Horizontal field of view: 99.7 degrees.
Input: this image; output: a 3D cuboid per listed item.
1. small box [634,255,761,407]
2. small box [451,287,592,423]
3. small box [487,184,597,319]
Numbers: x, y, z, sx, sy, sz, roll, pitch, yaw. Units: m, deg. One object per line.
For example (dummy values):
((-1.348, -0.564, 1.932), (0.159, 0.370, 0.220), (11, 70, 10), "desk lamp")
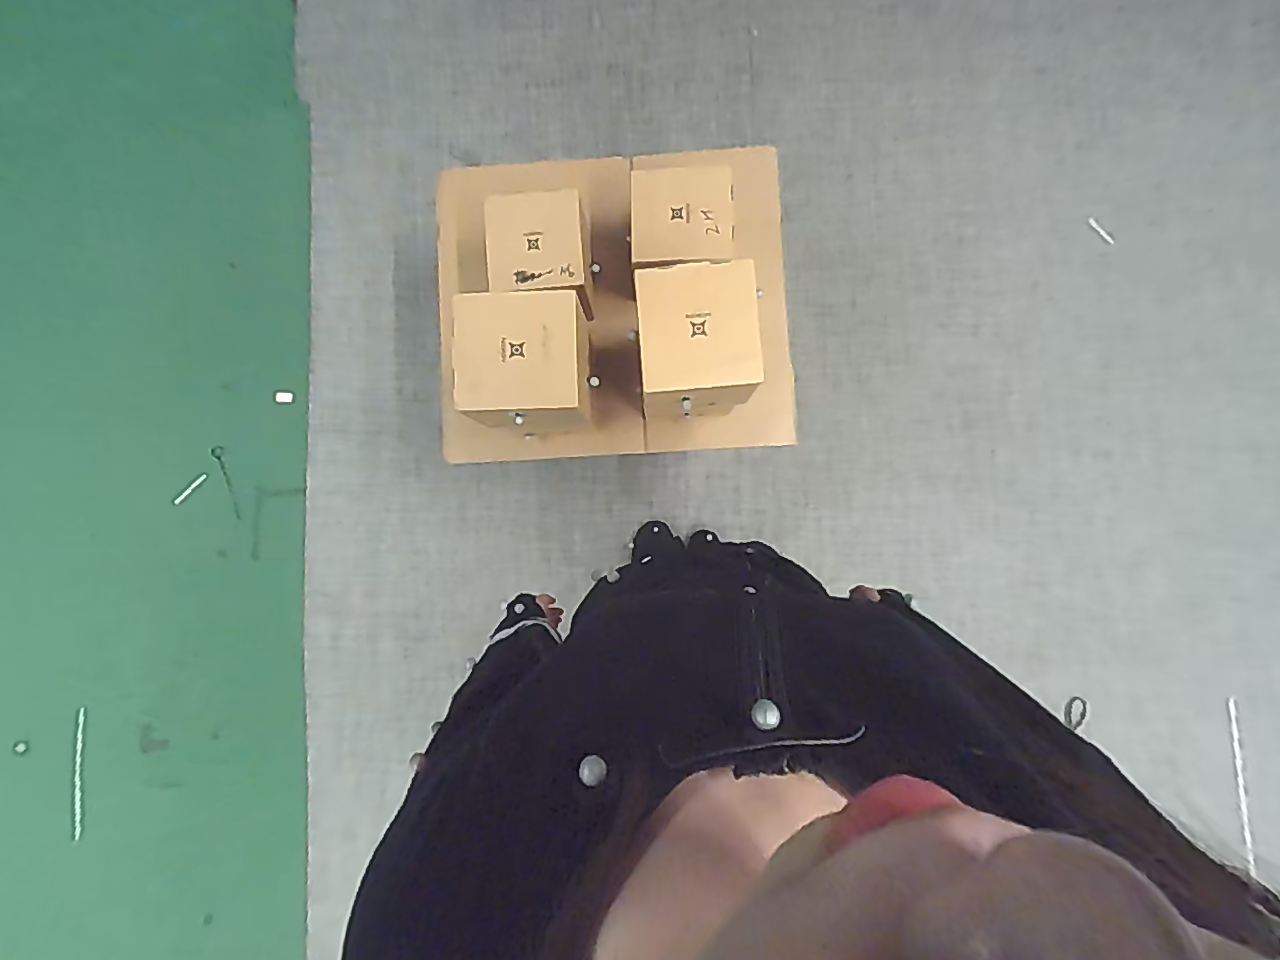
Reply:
((0.083, -0.210, 0.812), (0.168, 0.176, 0.179), (-4, 86, 3), "small box")
((-0.170, -0.179, 0.821), (0.179, 0.176, 0.168), (-1, 88, 2), "small box")
((-0.174, -0.408, 0.997), (0.168, 0.176, 0.179), (-4, 85, 4), "small box")
